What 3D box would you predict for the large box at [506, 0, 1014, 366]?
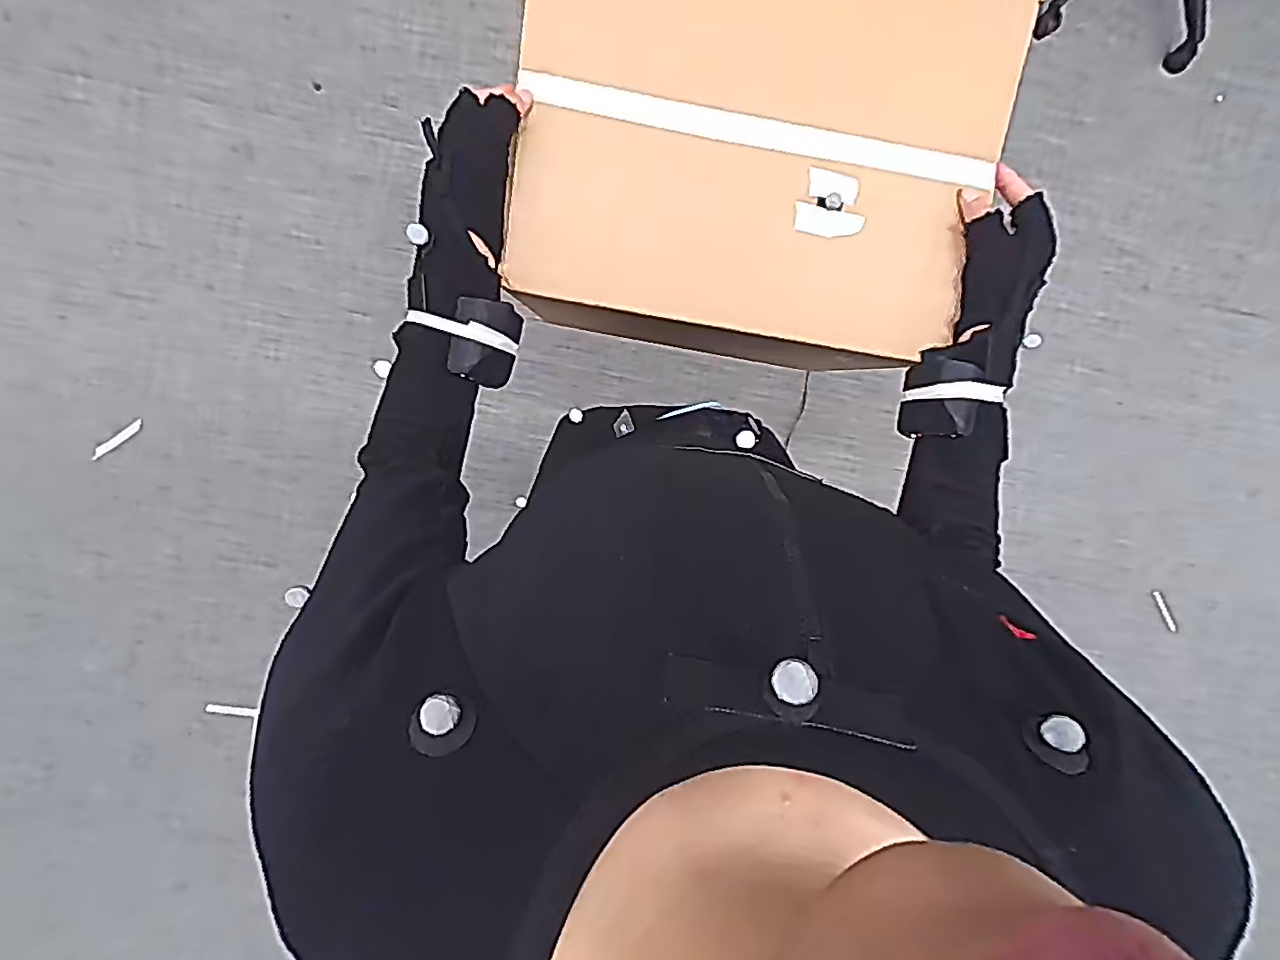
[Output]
[{"bbox_3d":[0.089,-0.317,0.611,0.408,0.320,0.320,9,101,-5],"label":"large box"}]
